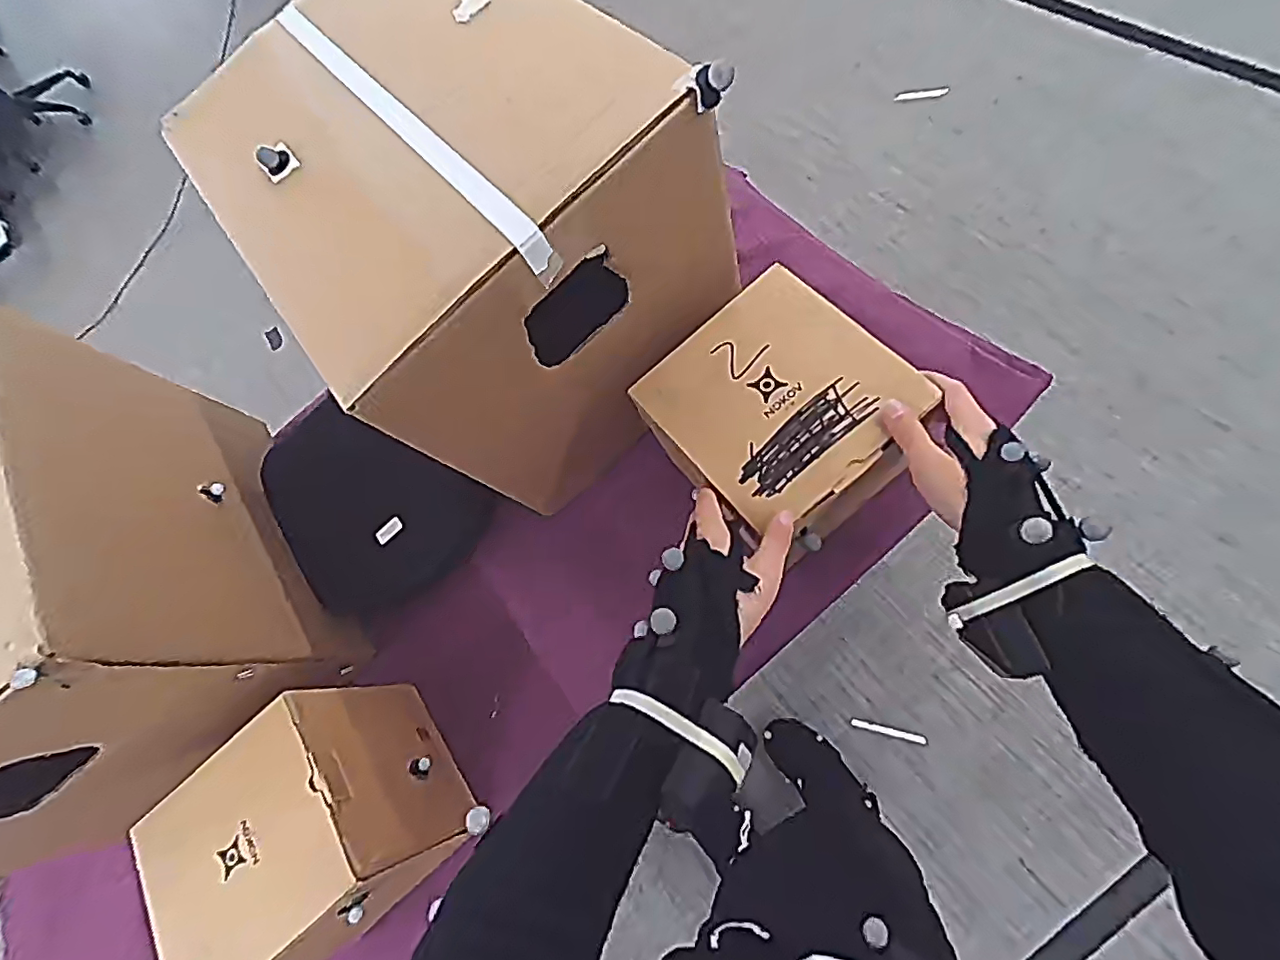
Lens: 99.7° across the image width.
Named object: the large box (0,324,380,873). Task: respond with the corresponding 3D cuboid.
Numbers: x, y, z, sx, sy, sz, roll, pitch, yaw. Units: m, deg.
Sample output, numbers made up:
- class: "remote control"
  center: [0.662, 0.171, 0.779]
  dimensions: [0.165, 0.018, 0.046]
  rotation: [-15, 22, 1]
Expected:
- class: "large box"
  center: [-0.571, 0.120, 0.571]
  dimensions: [0.320, 0.320, 0.408]
  rotation: [-41, 69, 1]
